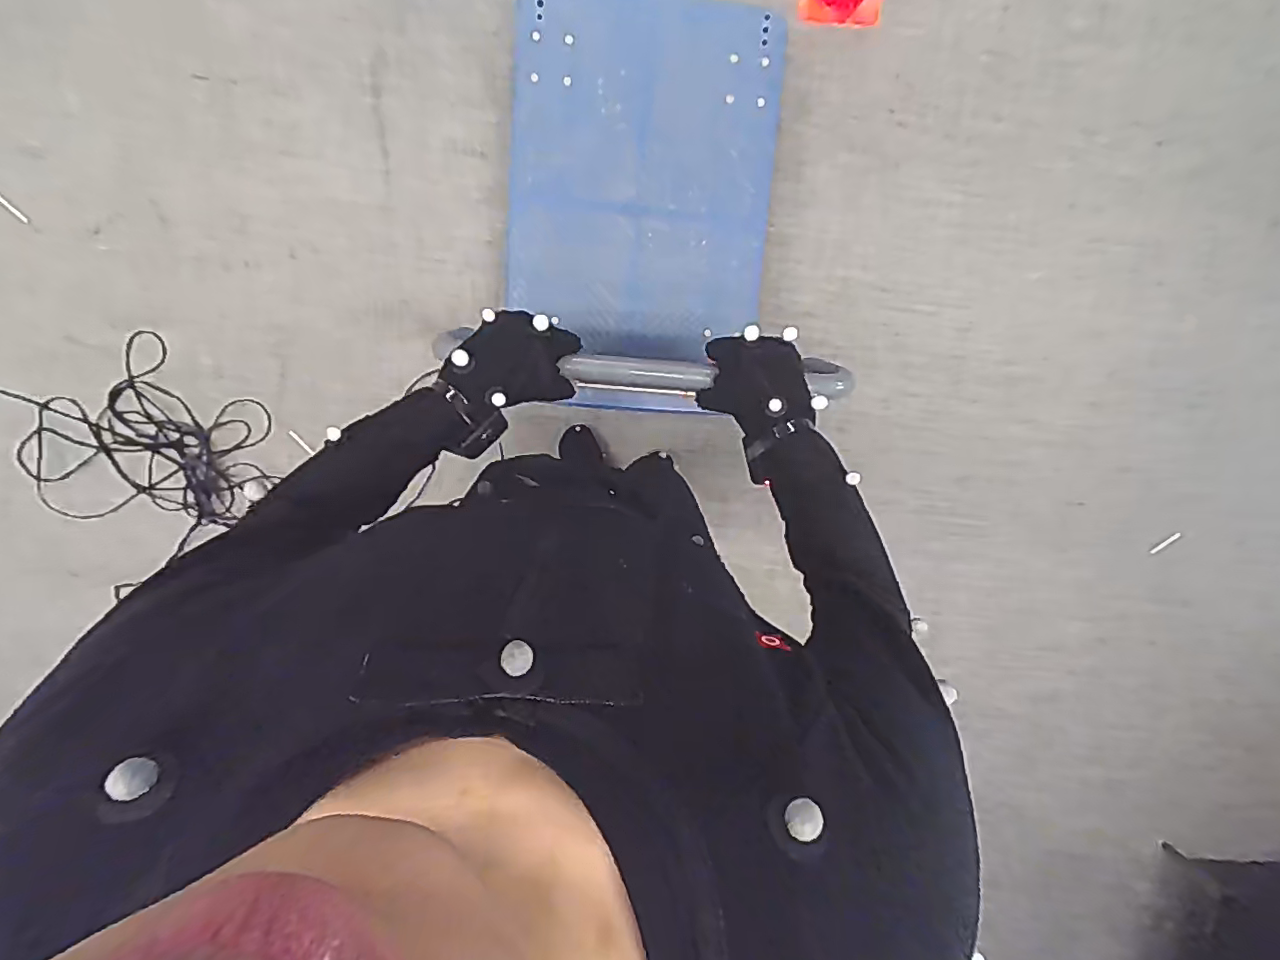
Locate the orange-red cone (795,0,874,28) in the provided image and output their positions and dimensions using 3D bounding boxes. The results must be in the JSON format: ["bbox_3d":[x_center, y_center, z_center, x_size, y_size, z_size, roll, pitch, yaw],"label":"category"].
[{"bbox_3d":[0.485,-1.191,1.148,0.199,0.360,0.198,4,98,-1],"label":"orange-red cone"}]
